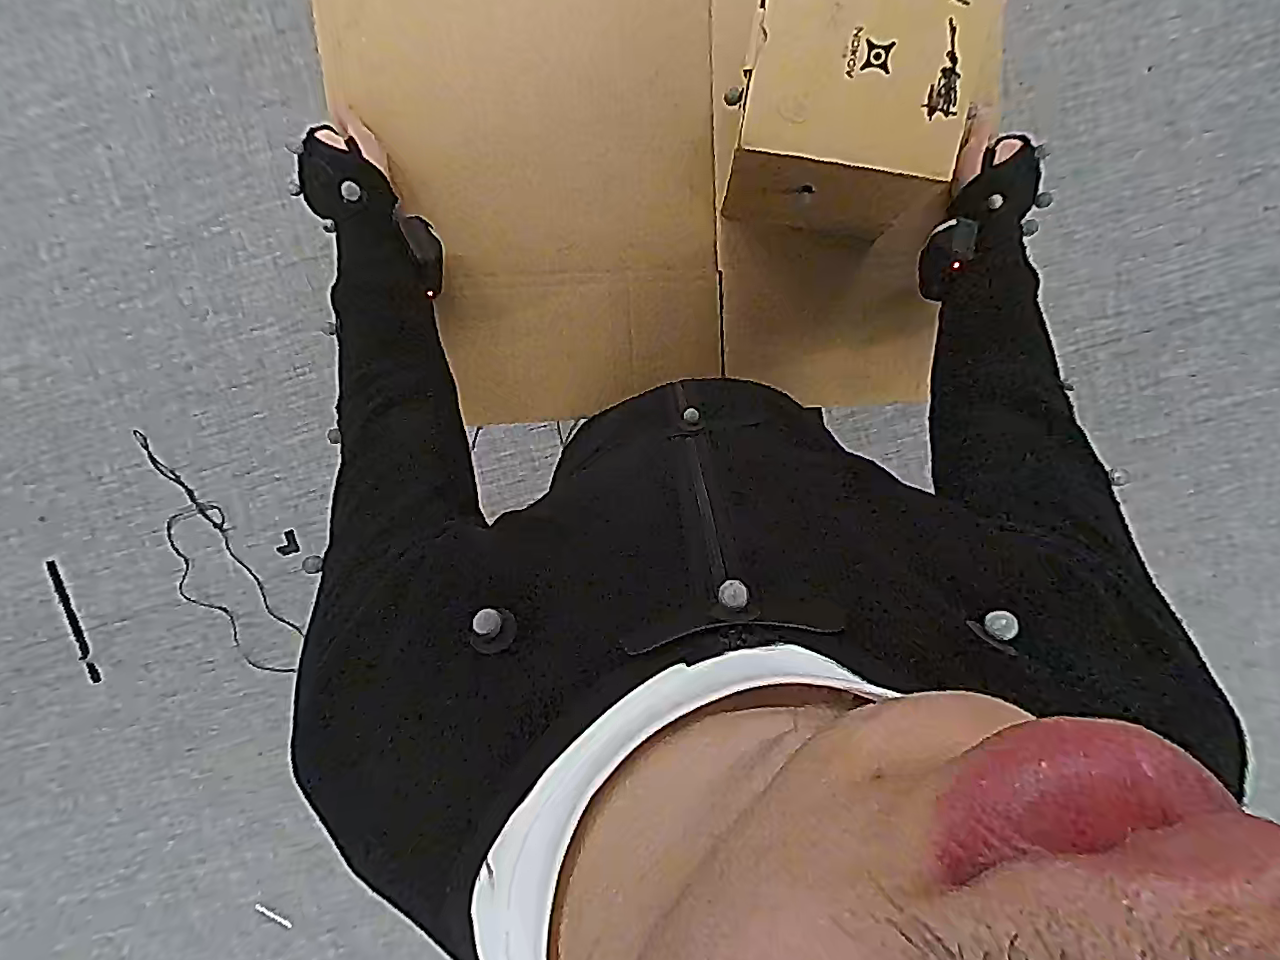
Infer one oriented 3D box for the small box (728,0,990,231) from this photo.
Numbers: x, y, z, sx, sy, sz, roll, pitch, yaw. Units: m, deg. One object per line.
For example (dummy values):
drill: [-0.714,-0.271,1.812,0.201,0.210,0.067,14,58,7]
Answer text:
small box: [0.185,-0.352,0.508,0.179,0.176,0.168,10,100,3]
